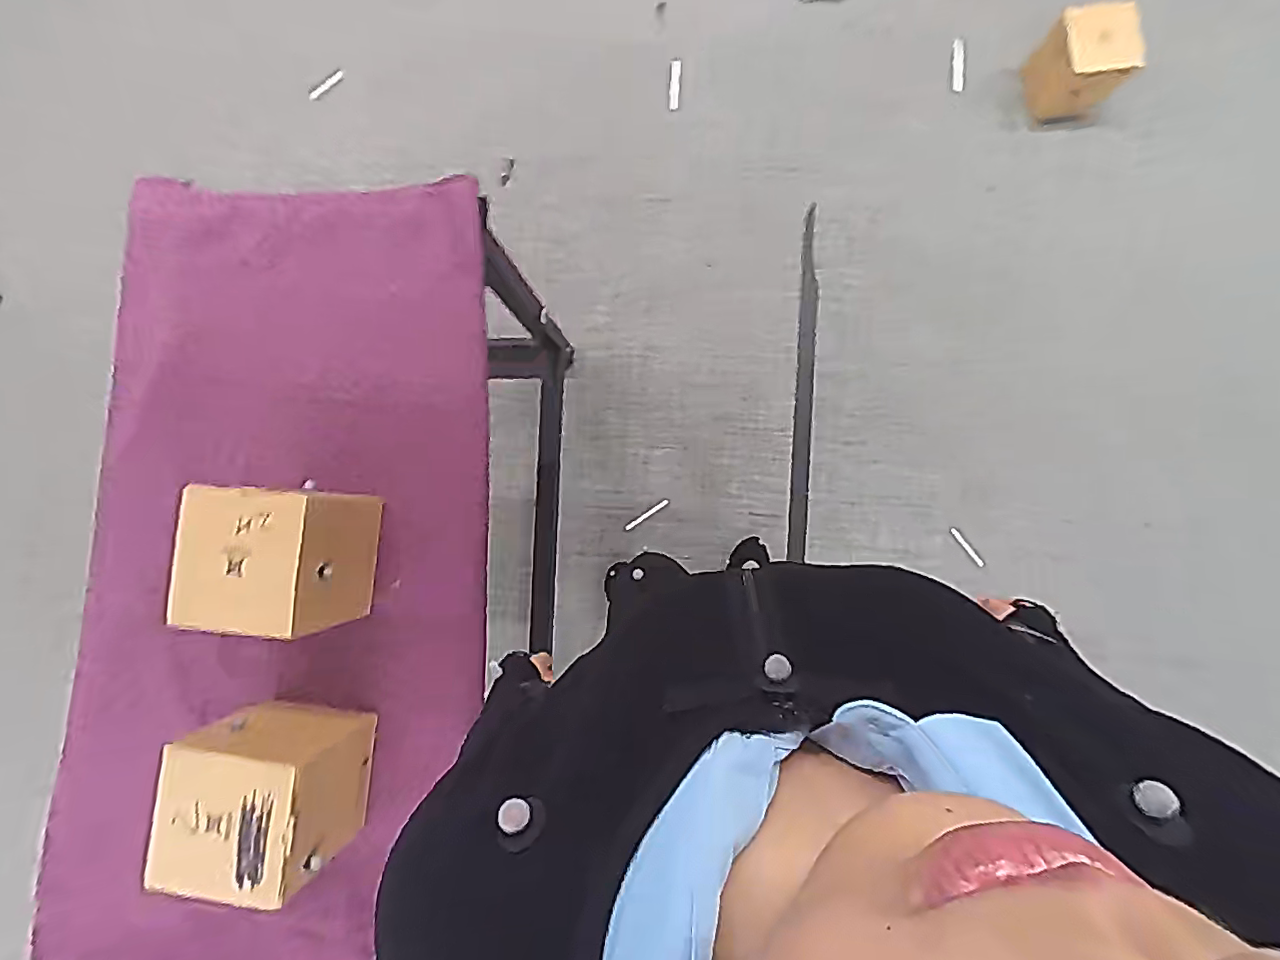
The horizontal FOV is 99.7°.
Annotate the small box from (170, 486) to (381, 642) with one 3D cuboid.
[{"bbox_3d":[-0.479,0.106,0.736,0.168,0.176,0.179,5,86,5],"label":"small box"}]

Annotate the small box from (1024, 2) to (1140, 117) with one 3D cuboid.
[{"bbox_3d":[1.158,-1.096,1.428,0.168,0.176,0.179,-5,85,4],"label":"small box"}]
